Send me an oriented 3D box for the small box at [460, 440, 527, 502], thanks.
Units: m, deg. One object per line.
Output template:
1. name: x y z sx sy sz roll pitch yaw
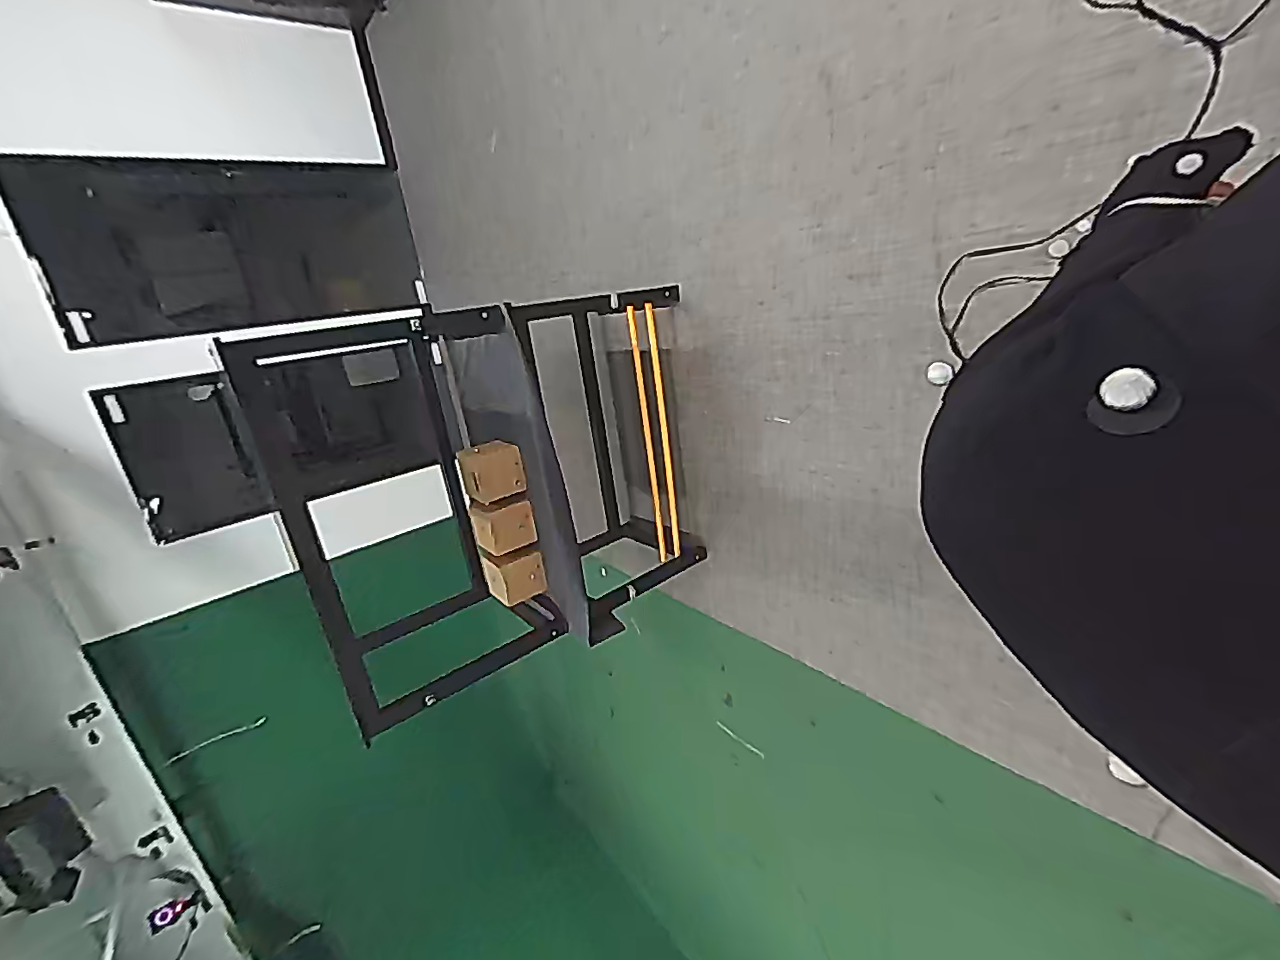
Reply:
1. small box: -0.519 -0.040 1.942 0.179 0.176 0.168 17 121 51
